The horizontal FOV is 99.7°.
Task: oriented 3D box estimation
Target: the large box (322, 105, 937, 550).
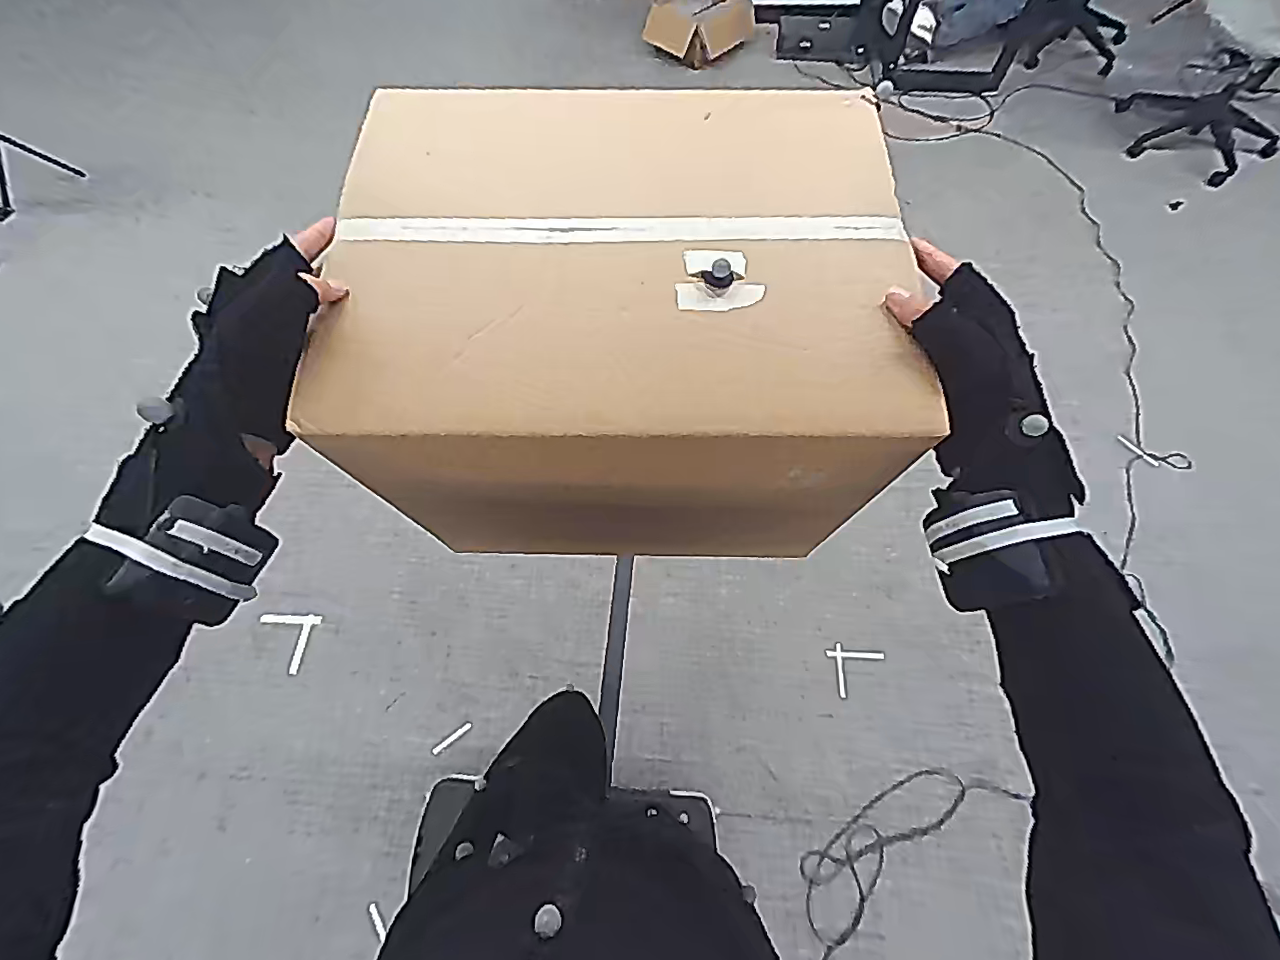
[{"bbox_3d":[-0.009,-0.117,0.536,0.408,0.320,0.320,1,69,0],"label":"large box"}]
